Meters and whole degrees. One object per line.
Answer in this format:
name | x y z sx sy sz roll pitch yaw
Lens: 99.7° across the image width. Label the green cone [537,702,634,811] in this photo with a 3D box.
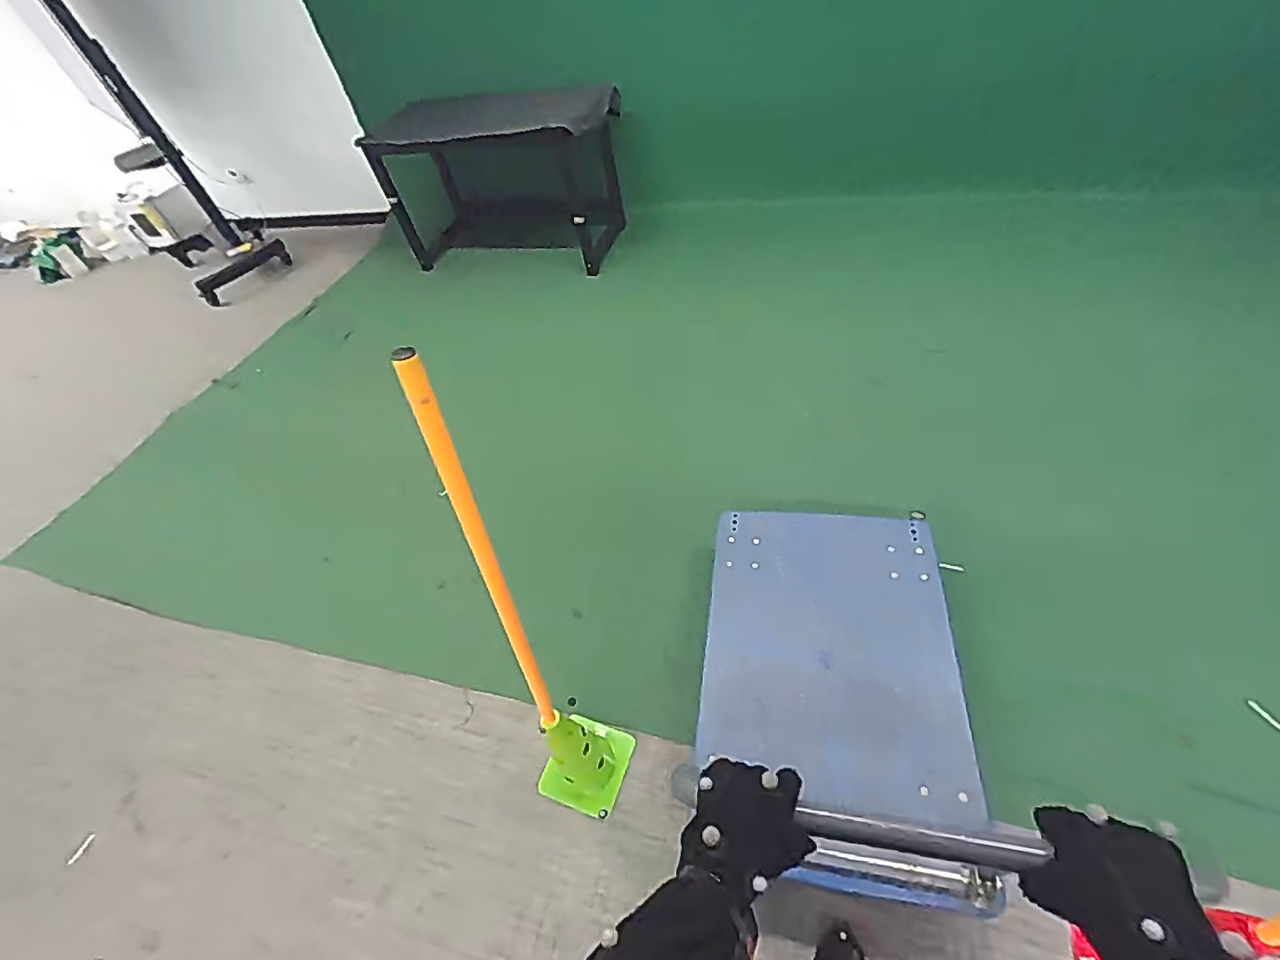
green cone | -0.162 0.599 1.259 0.202 0.368 0.200 10 51 20
